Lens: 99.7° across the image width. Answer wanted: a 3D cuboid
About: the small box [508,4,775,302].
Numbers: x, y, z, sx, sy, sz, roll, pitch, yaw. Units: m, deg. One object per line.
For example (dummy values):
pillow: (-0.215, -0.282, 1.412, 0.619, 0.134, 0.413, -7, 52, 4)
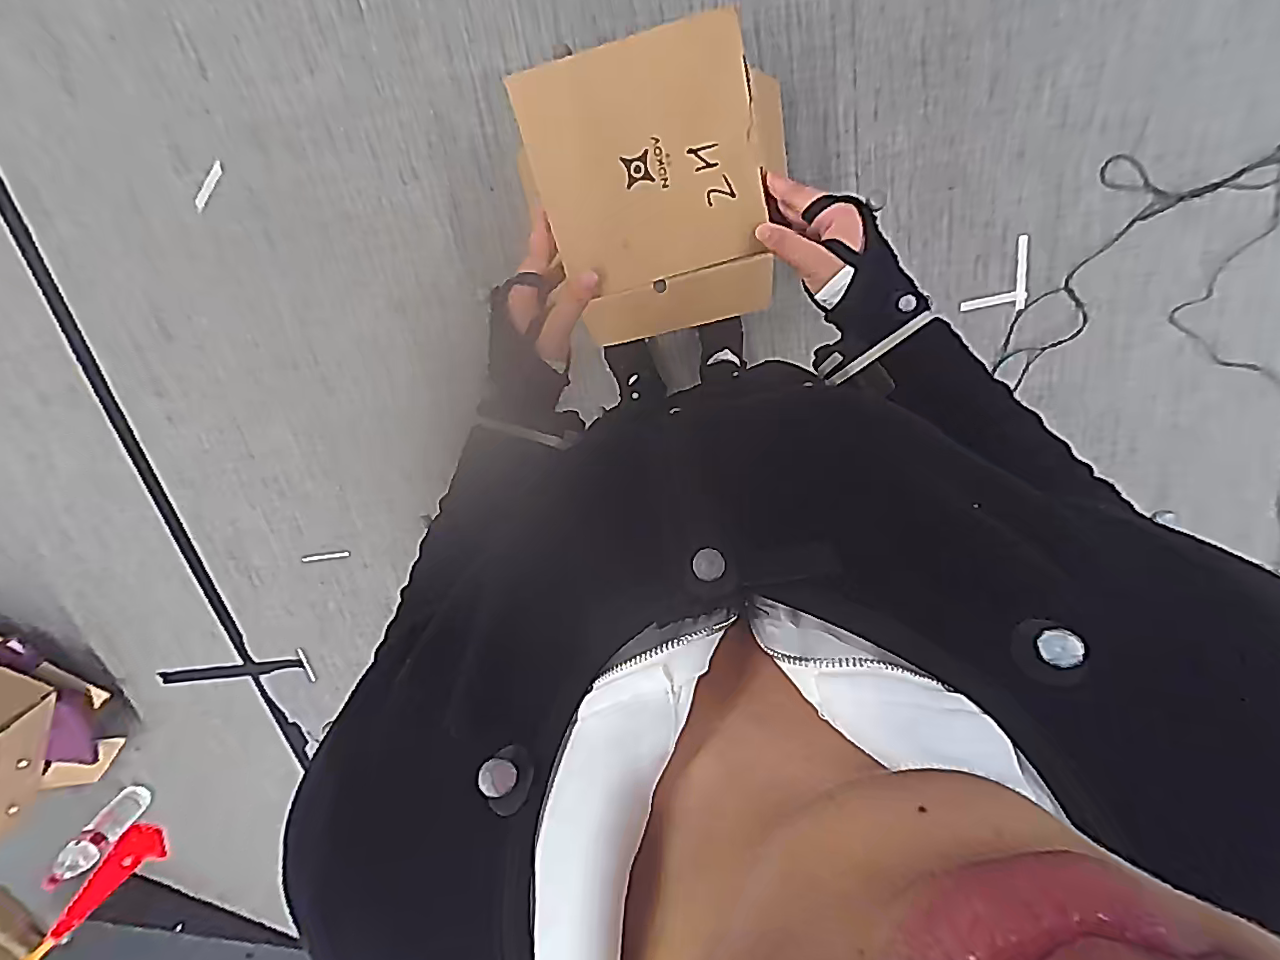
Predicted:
small box: (0.005, -0.273, 0.484, 0.179, 0.176, 0.168, -14, 117, 5)
